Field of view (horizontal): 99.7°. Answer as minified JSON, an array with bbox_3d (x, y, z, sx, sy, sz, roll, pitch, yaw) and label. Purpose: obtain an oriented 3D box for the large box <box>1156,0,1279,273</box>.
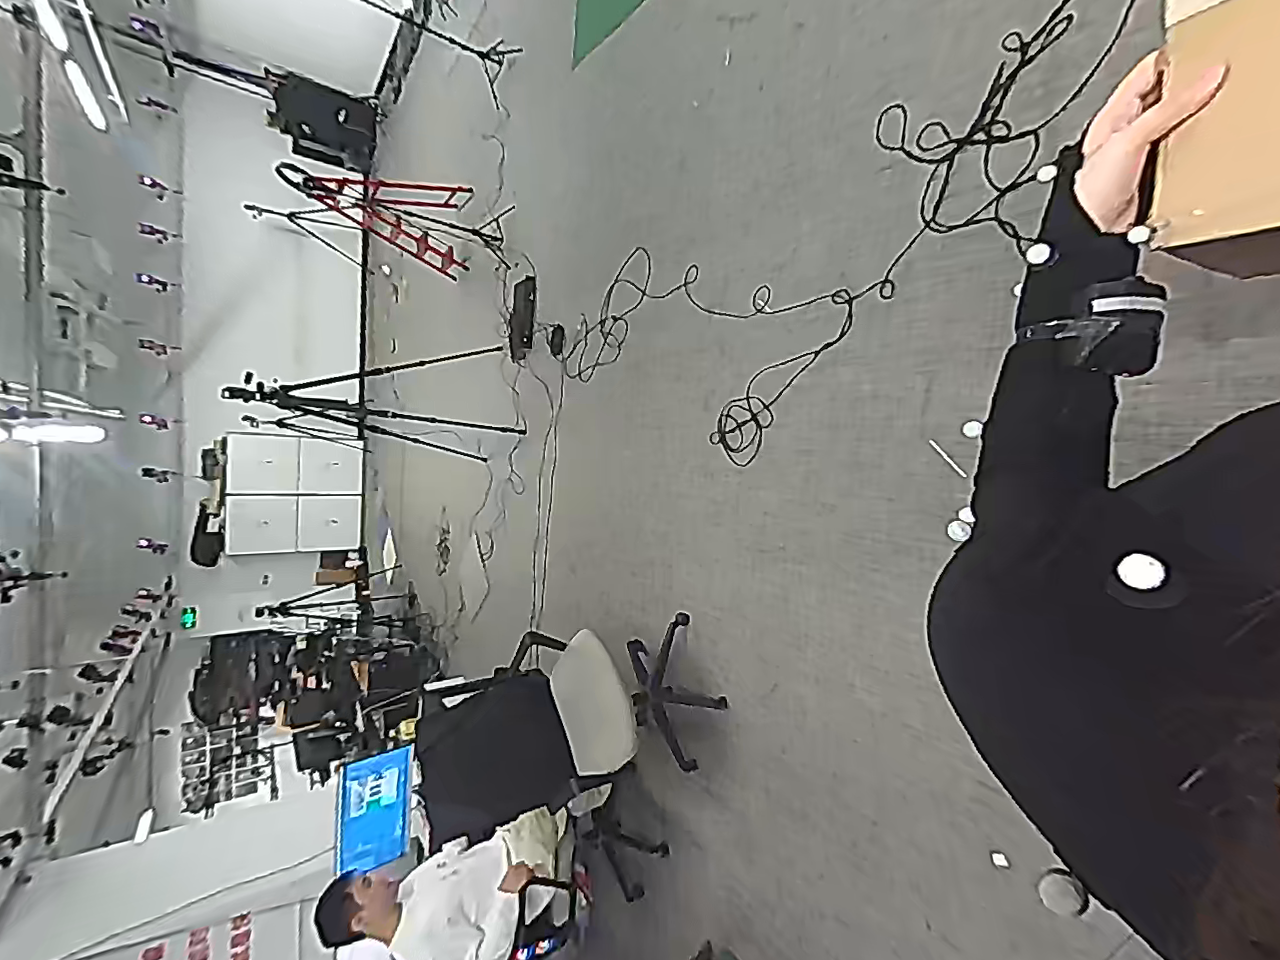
[{"bbox_3d":[0.615,-0.326,0.304,0.408,0.320,0.320,9,105,56],"label":"large box"}]
